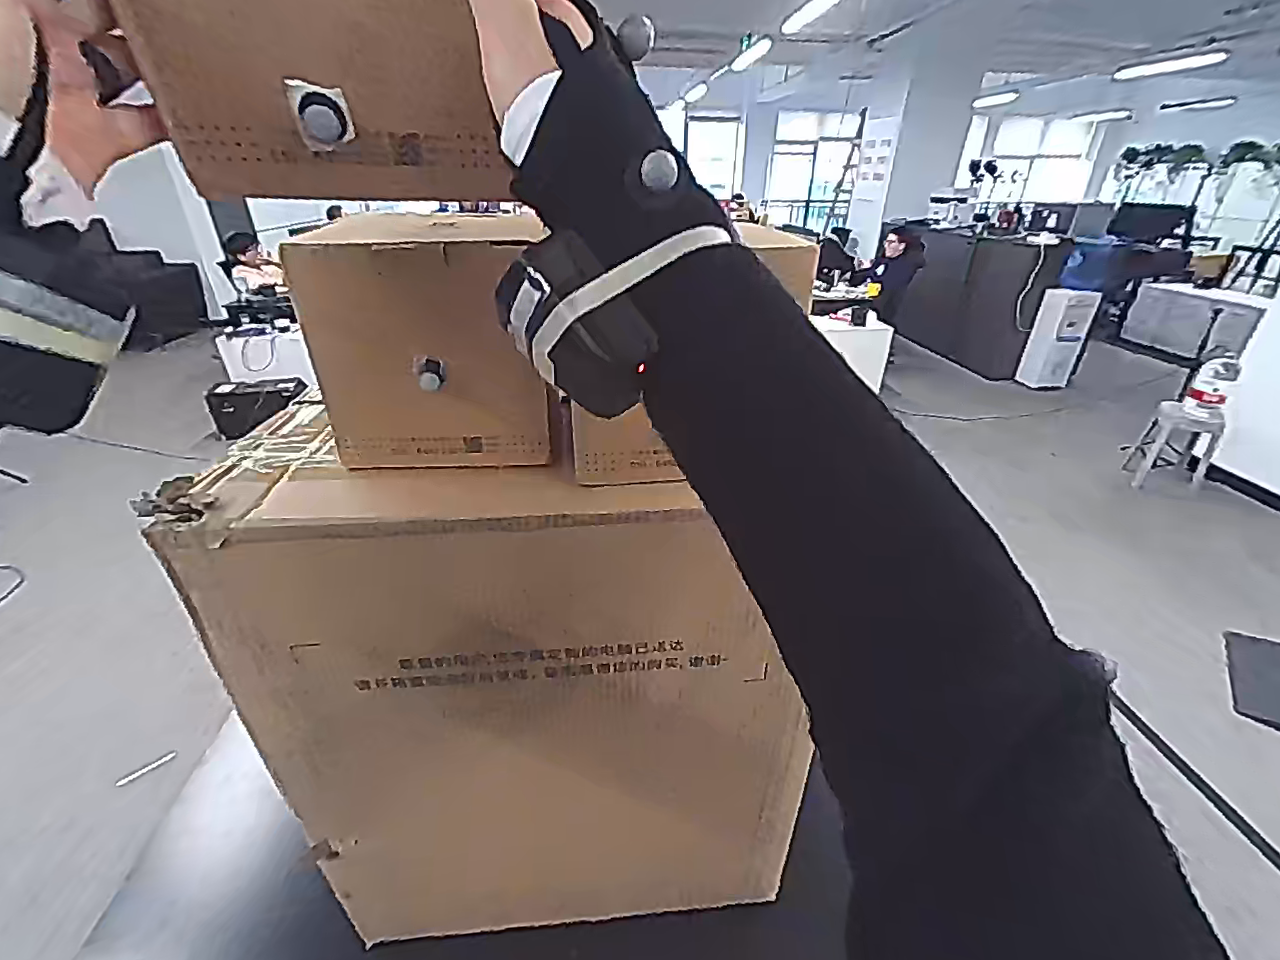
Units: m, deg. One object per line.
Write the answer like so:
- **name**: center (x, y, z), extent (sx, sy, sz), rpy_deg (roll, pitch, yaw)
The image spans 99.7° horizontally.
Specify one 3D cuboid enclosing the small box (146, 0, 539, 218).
- **small box**: center (-0.148, -0.260, 0.296), extent (0.168, 0.176, 0.179), rpy_deg (-7, 45, -12)
